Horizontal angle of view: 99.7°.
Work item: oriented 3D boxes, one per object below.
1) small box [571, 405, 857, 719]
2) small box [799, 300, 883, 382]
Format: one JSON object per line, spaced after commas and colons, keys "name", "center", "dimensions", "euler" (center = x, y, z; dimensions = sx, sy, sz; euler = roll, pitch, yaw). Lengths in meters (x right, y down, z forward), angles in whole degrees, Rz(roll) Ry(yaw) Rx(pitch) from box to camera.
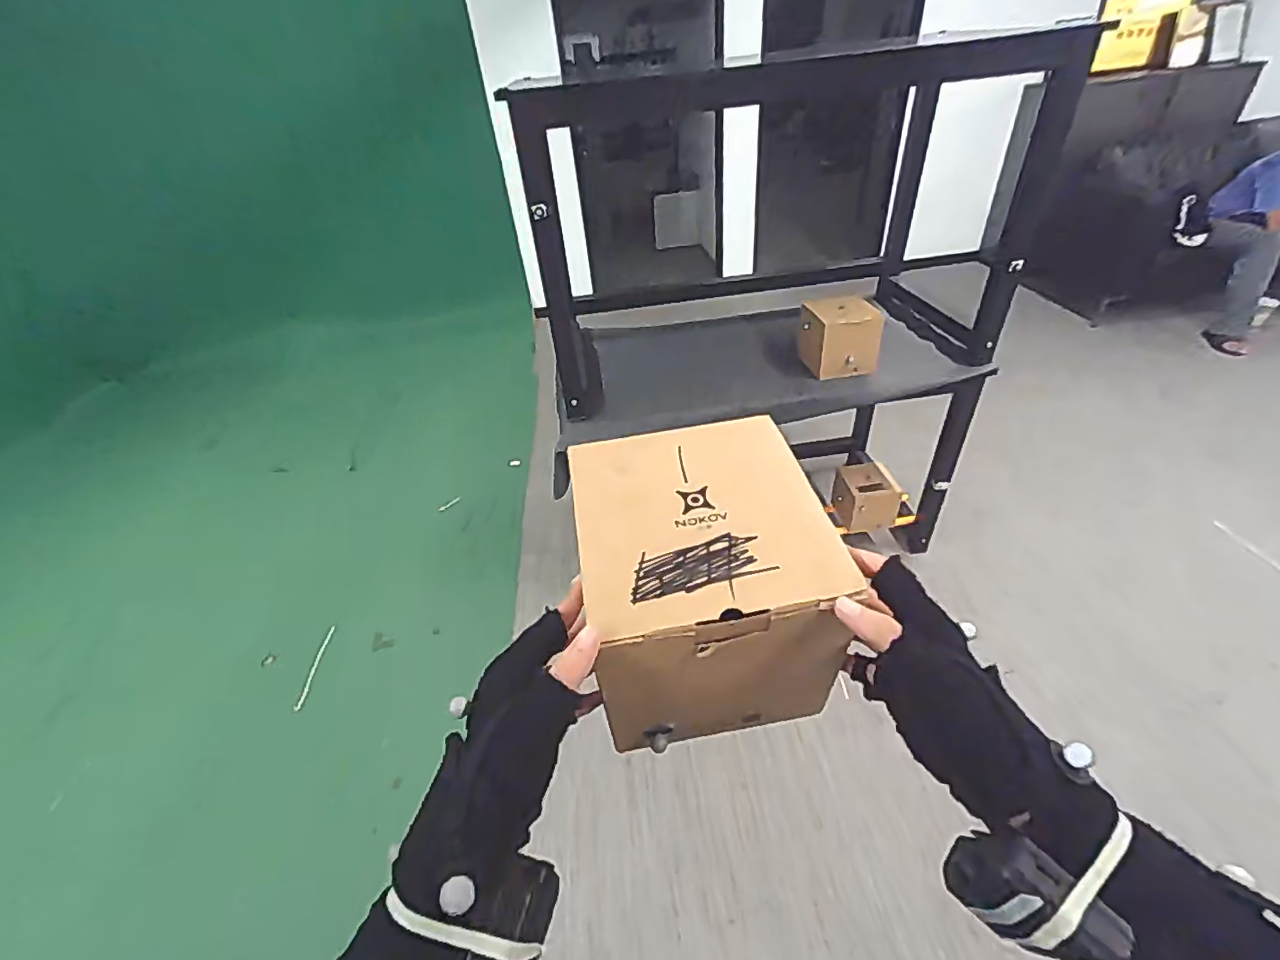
{"name": "small box", "center": [0.044, 0.068, 0.427], "dimensions": [0.168, 0.176, 0.179], "euler": [-9, 43, -4]}
{"name": "small box", "center": [0.568, -0.399, 1.553], "dimensions": [0.168, 0.176, 0.179], "euler": [-9, 37, -2]}
